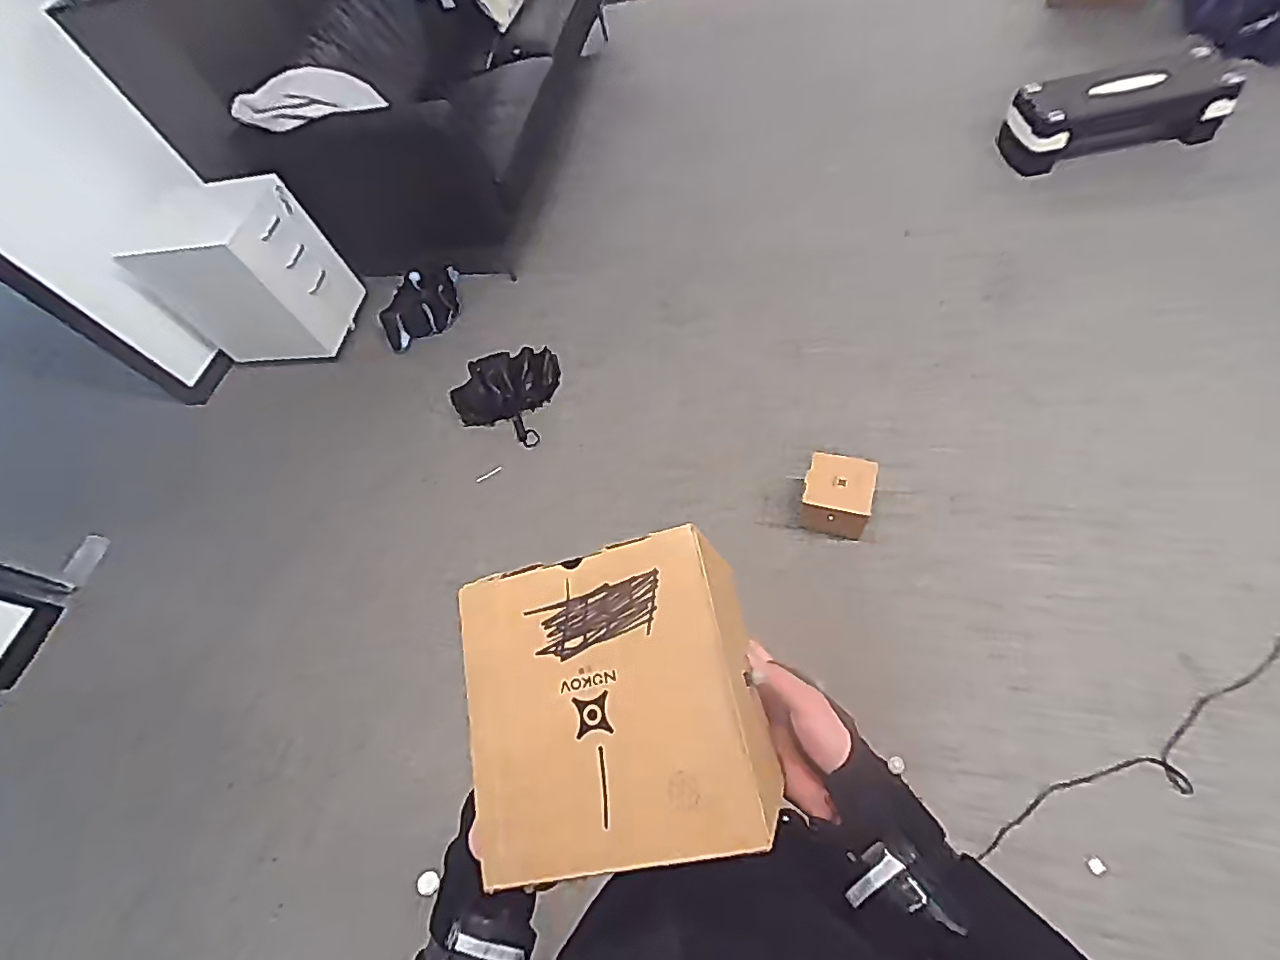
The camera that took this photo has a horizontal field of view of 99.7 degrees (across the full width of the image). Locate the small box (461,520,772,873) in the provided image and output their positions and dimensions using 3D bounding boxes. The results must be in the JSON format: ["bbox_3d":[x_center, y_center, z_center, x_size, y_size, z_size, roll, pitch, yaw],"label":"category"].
[{"bbox_3d":[-0.008,0.147,0.392,0.168,0.176,0.179,-16,69,12],"label":"small box"}]

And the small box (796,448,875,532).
[{"bbox_3d":[0.544,0.032,1.524,0.179,0.176,0.168,13,66,18],"label":"small box"}]
